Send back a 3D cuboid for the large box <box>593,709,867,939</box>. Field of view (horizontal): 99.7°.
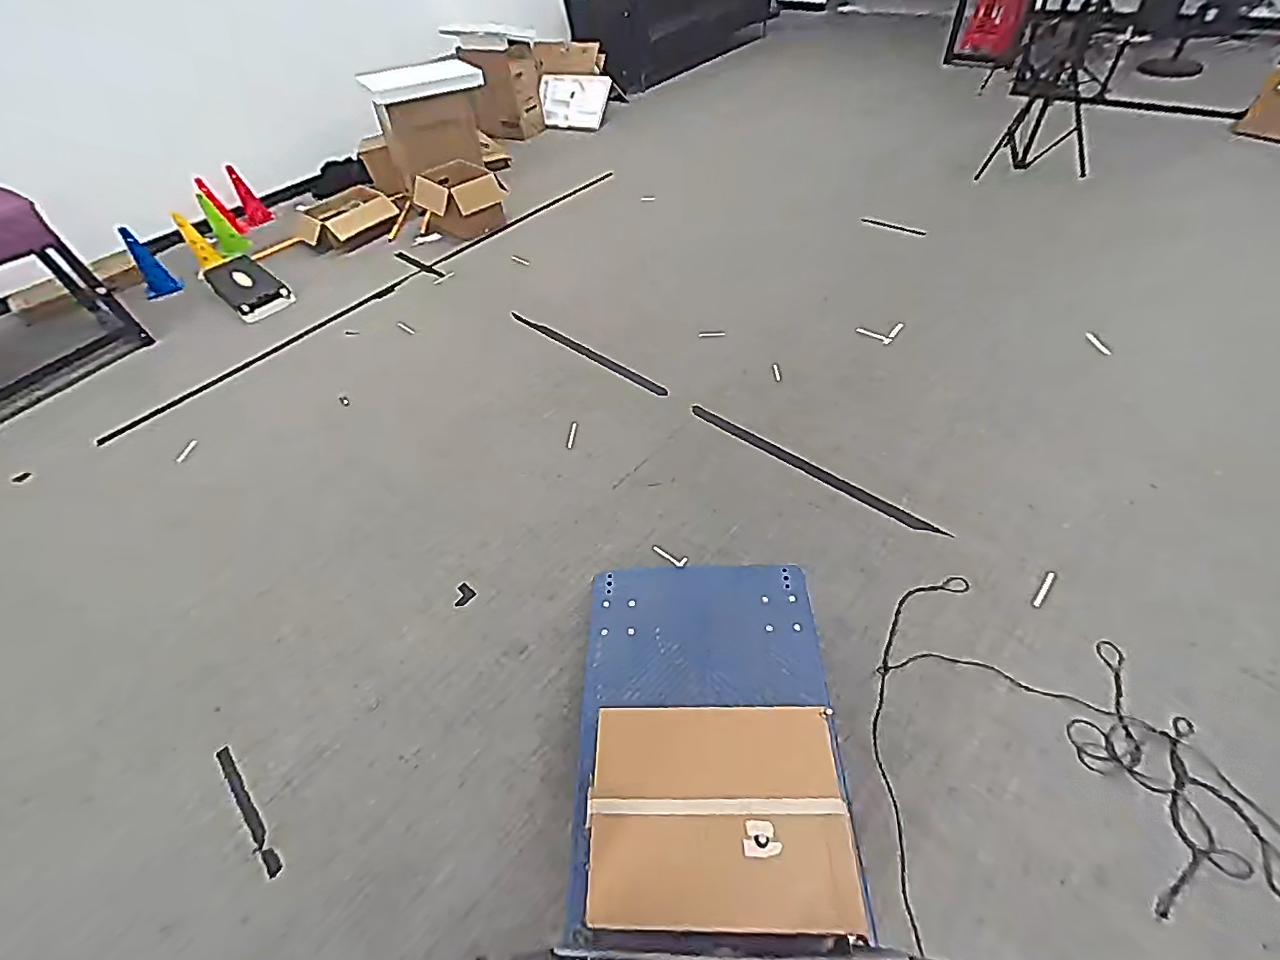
[{"bbox_3d":[0.136,0.631,0.986,0.408,0.320,0.320,-2,50,3],"label":"large box"}]
